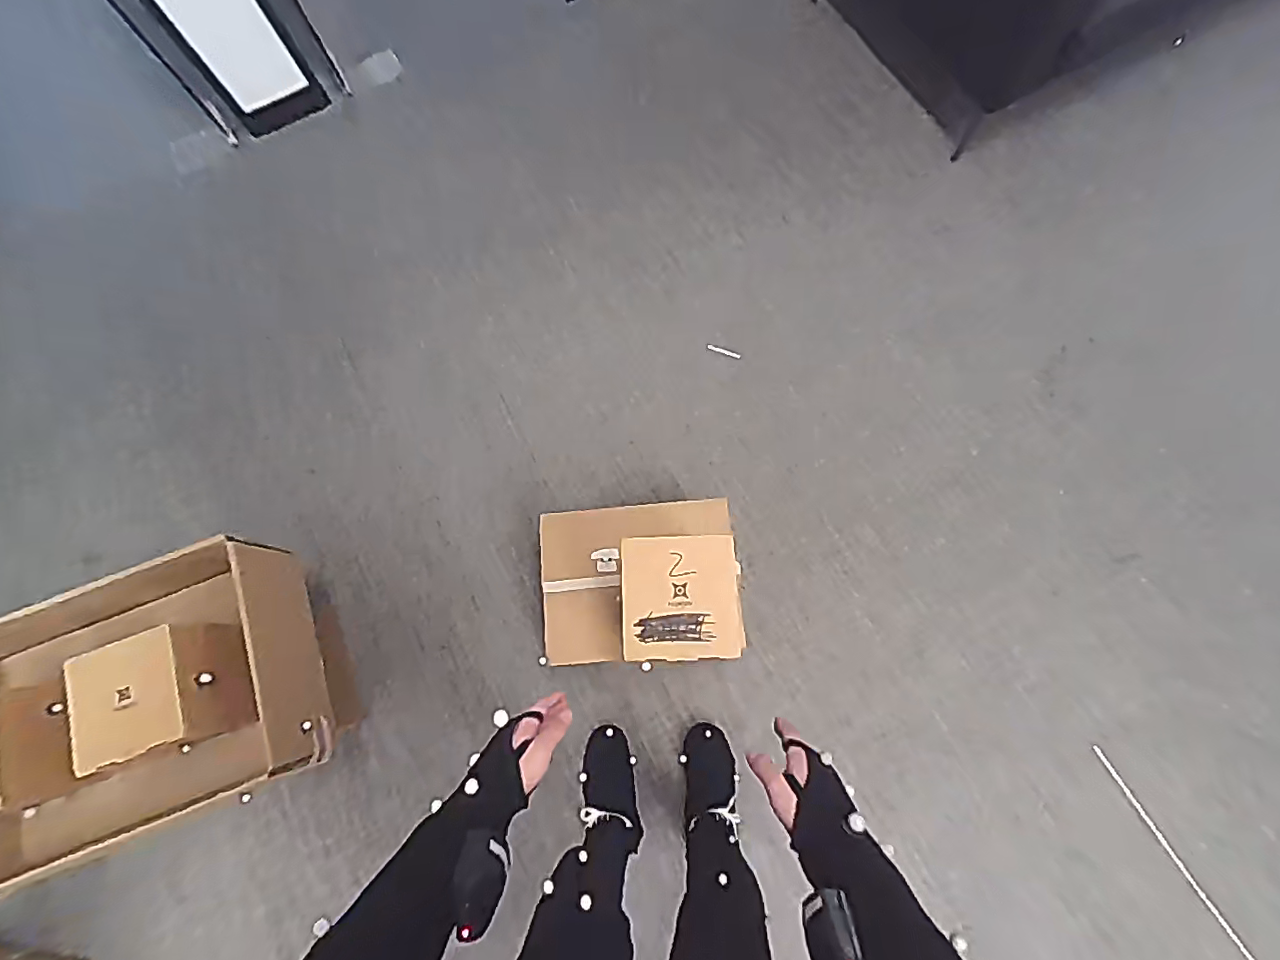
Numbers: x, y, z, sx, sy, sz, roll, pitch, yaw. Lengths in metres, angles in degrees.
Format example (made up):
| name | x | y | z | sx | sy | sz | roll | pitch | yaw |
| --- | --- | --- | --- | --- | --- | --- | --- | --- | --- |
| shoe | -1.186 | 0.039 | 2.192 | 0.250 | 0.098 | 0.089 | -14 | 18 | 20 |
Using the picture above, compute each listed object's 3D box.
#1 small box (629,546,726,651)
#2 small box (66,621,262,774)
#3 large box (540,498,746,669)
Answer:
| name | x | y | z | sx | sy | sz | roll | pitch | yaw |
| --- | --- | --- | --- | --- | --- | --- | --- | --- | --- |
| small box | 0.067 | 0.218 | 1.002 | 0.168 | 0.176 | 0.179 | -2 | 76 | 2 |
| small box | -0.766 | 0.343 | 0.886 | 0.168 | 0.176 | 0.179 | -20 | 77 | -4 |
| large box | 0.007 | 0.243 | 1.251 | 0.408 | 0.320 | 0.320 | -6 | 74 | 1 |
